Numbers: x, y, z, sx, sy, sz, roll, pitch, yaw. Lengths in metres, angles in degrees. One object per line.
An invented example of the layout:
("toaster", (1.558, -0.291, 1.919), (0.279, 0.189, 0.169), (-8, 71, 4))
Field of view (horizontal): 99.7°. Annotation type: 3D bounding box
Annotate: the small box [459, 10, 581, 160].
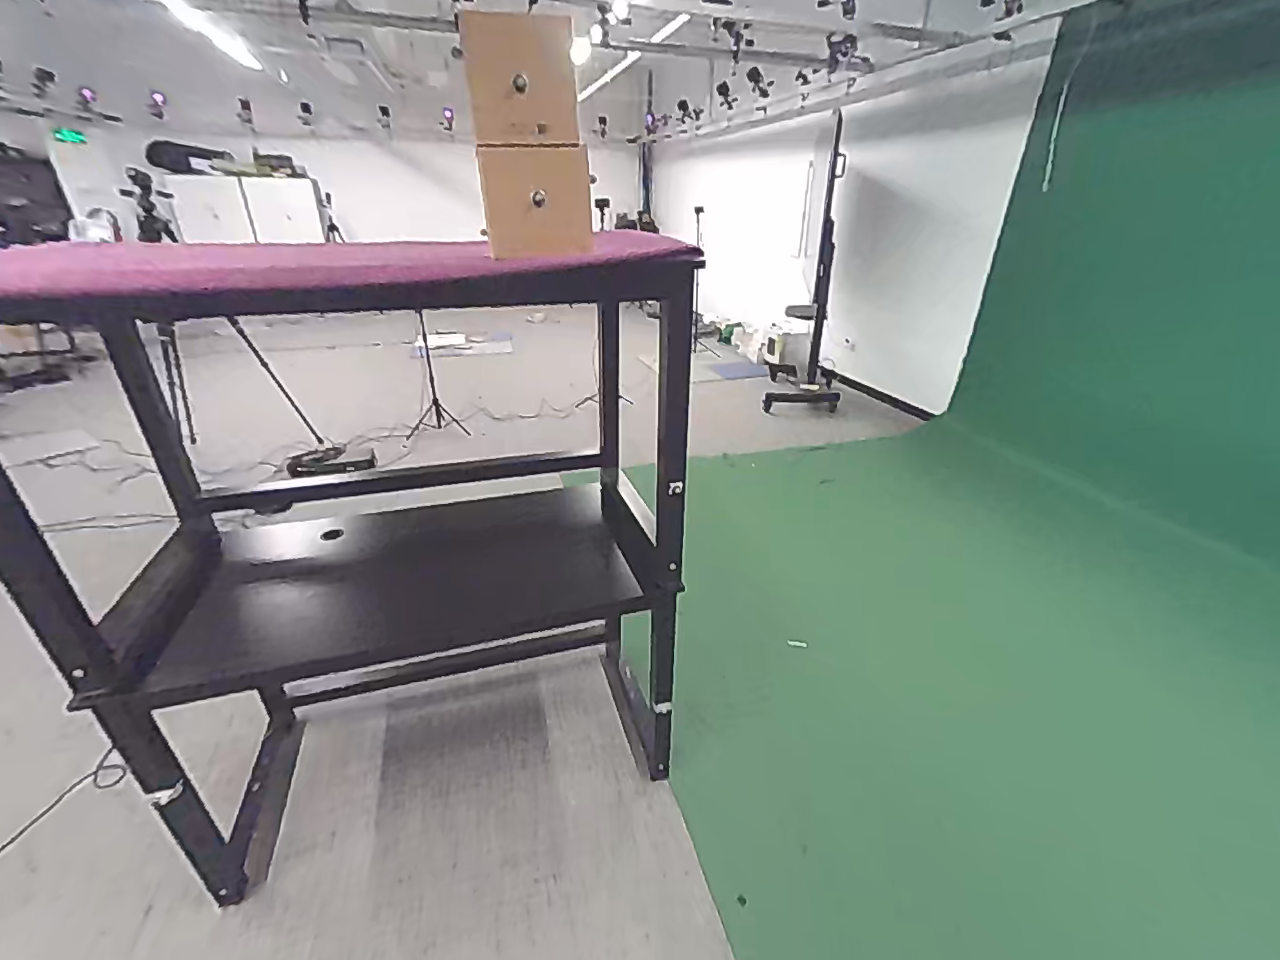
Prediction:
("small box", (-0.195, -0.633, 0.885), (0.168, 0.176, 0.179), (-8, 26, -14))
